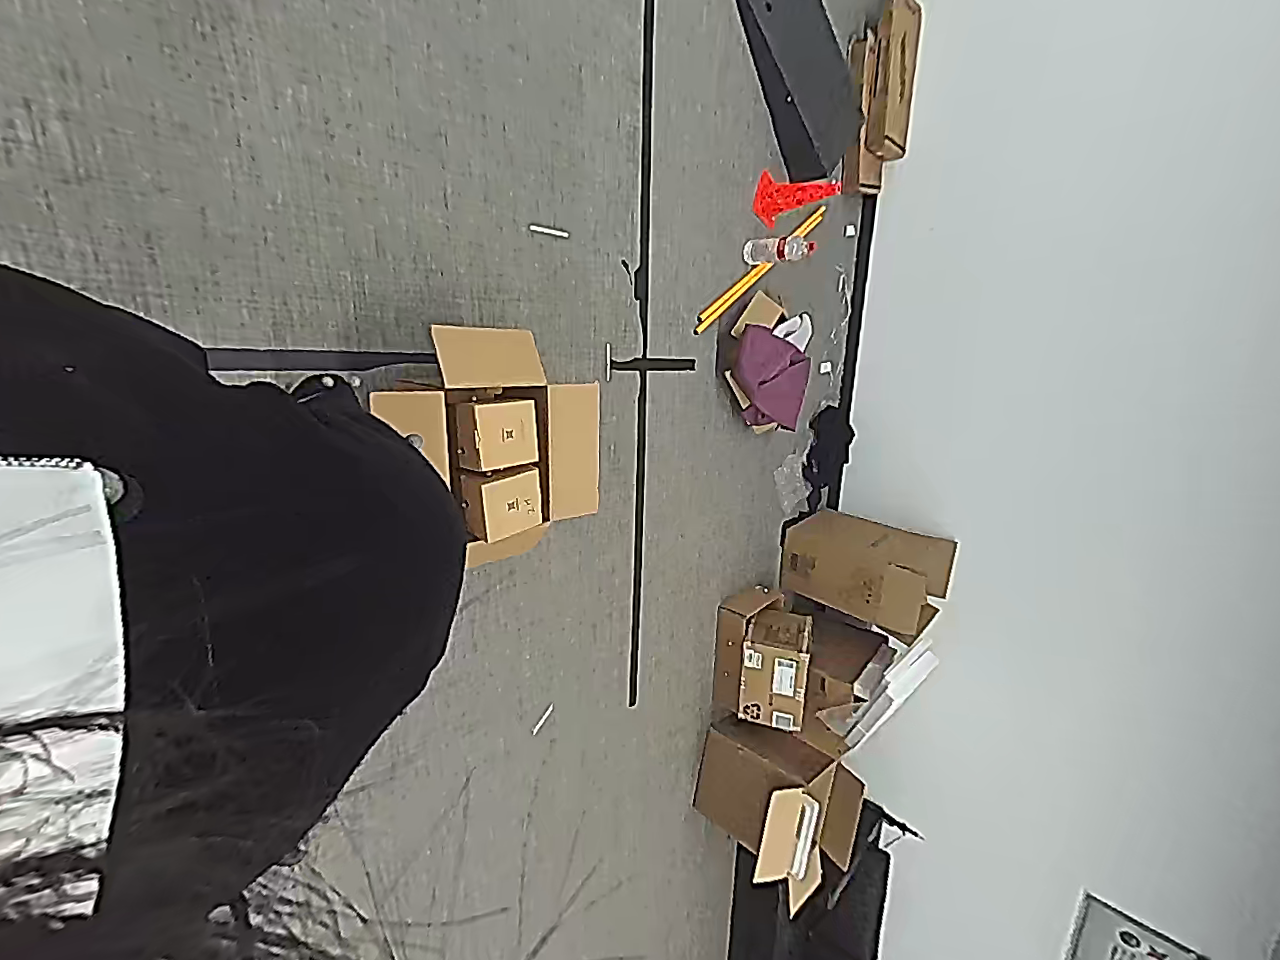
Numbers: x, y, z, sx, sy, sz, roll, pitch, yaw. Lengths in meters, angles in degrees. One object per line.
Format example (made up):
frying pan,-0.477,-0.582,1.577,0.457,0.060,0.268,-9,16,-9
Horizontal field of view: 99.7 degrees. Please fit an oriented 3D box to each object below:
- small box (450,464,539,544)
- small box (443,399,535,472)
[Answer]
small box,-0.399,0.049,1.470,0.179,0.176,0.168,-21,120,-42
small box,-0.401,-0.123,1.419,0.179,0.176,0.168,-17,111,-46
